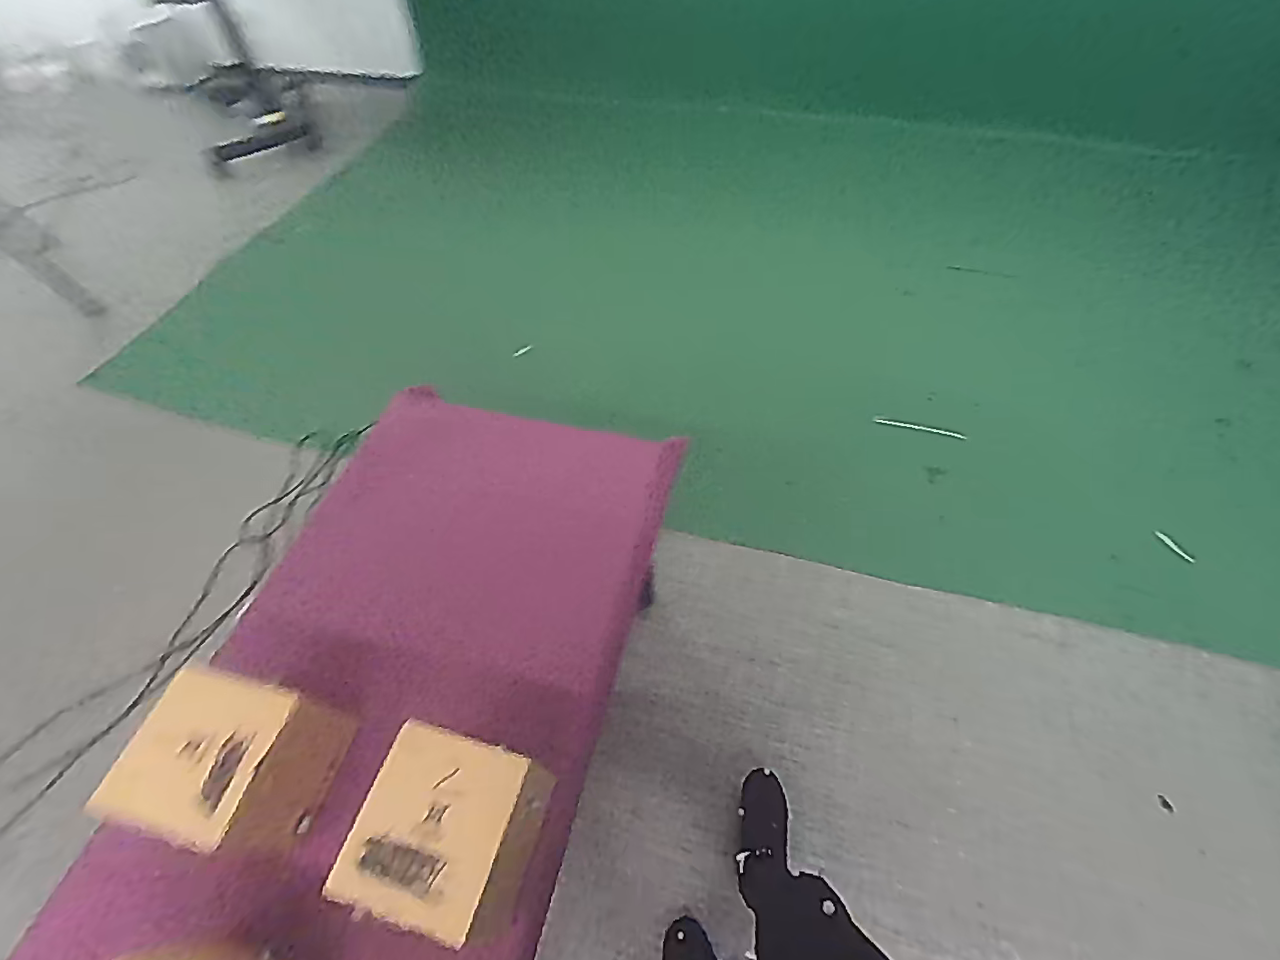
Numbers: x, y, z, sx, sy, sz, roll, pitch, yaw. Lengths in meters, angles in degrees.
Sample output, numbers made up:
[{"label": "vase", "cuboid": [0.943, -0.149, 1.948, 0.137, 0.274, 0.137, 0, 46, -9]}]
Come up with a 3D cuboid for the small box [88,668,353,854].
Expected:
[{"label": "small box", "cuboid": [-0.521, 0.368, 0.707, 0.179, 0.176, 0.168, 10, 56, 10]}]
